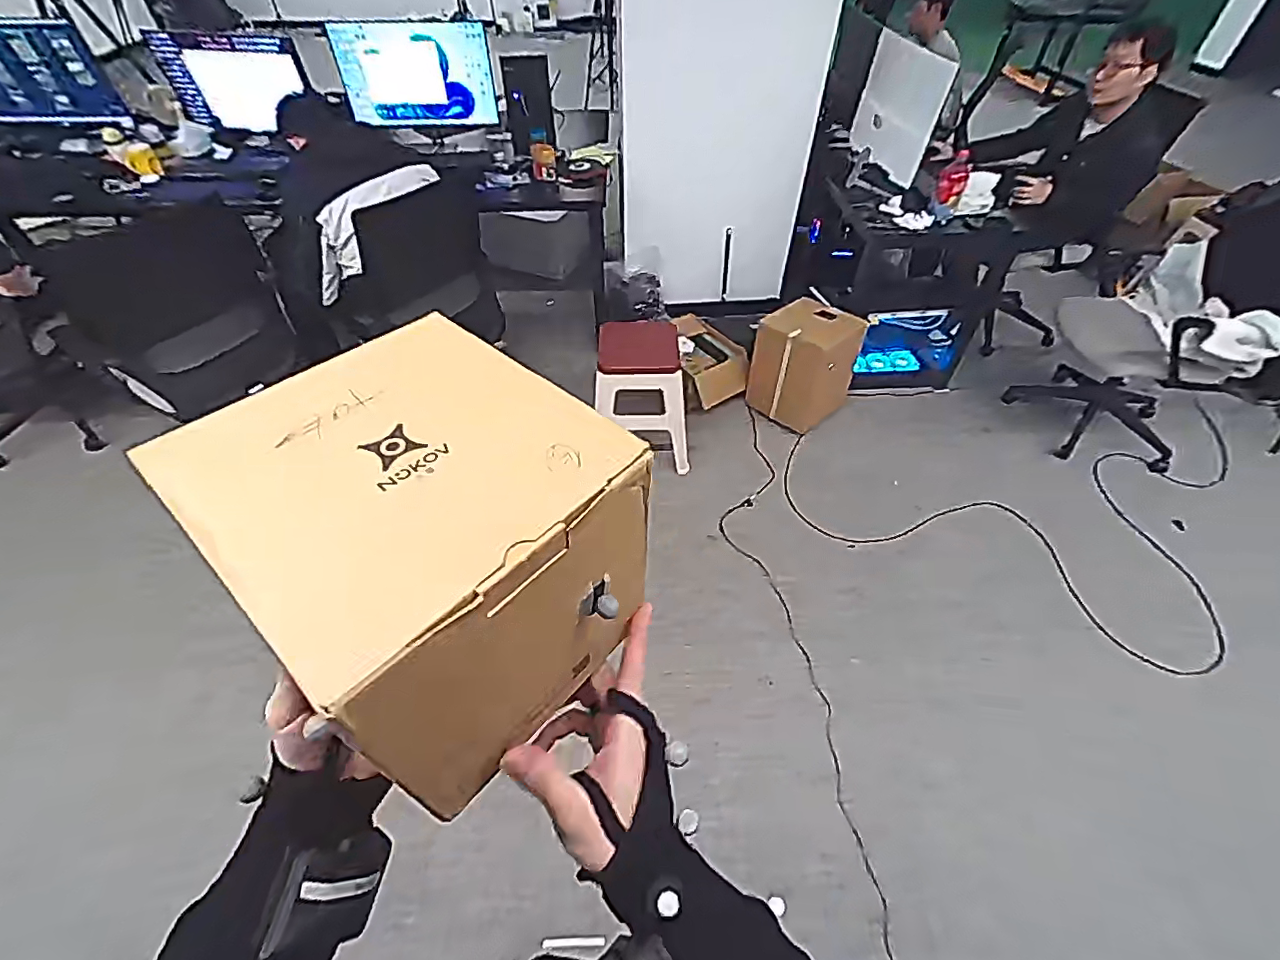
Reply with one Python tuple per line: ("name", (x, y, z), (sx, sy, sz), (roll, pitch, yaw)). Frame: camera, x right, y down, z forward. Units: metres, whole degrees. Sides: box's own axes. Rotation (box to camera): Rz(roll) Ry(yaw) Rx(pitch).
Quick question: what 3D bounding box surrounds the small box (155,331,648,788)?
("small box", (-0.113, 0.048, 0.320), (0.179, 0.176, 0.168), (32, 54, 24))
